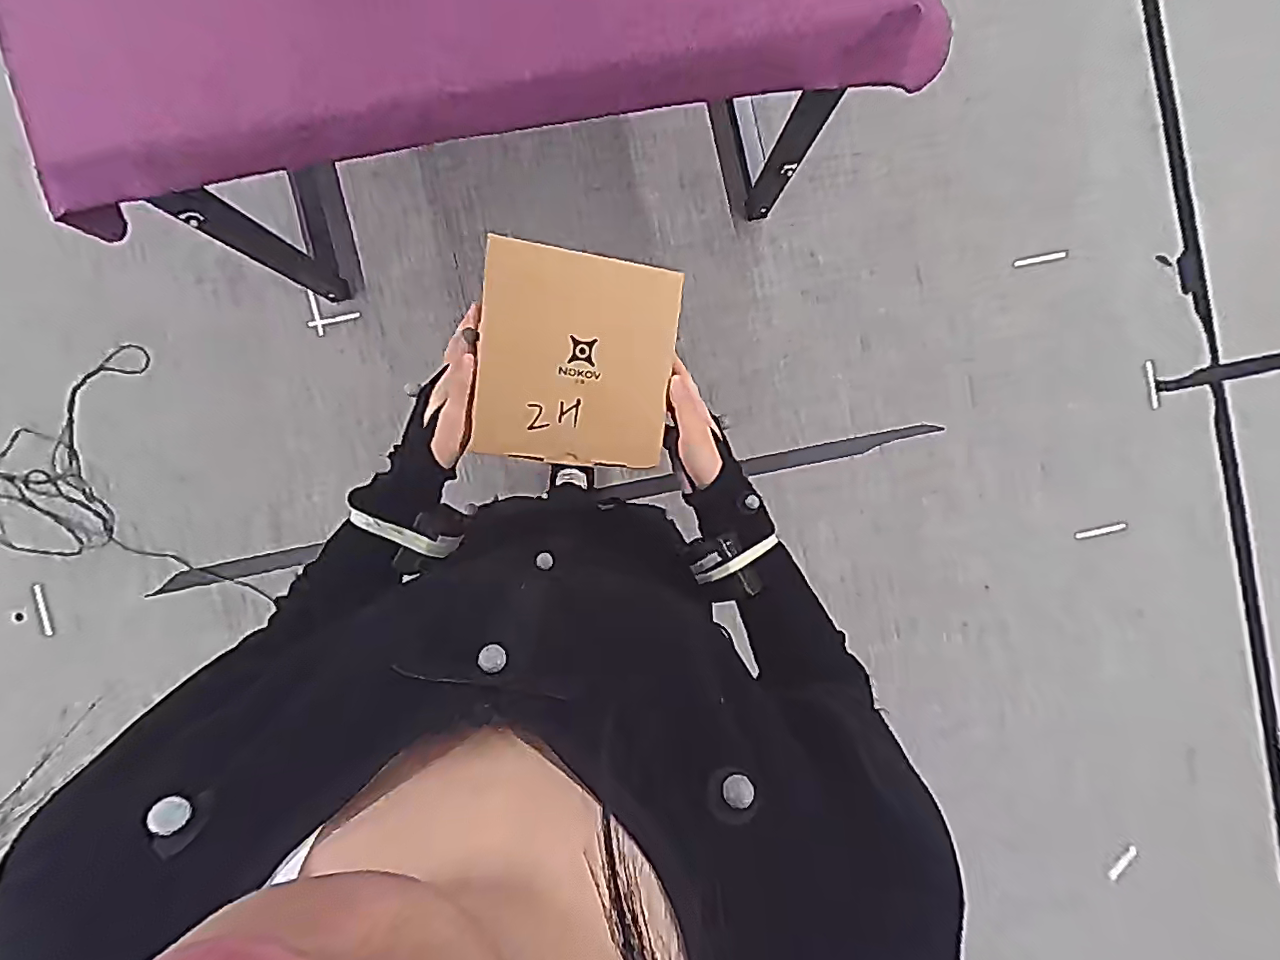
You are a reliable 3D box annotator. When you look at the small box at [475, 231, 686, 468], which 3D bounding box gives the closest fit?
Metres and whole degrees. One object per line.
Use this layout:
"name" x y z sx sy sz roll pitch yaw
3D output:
"small box" -0.069 -0.114 0.532 0.168 0.176 0.179 6 97 -17
